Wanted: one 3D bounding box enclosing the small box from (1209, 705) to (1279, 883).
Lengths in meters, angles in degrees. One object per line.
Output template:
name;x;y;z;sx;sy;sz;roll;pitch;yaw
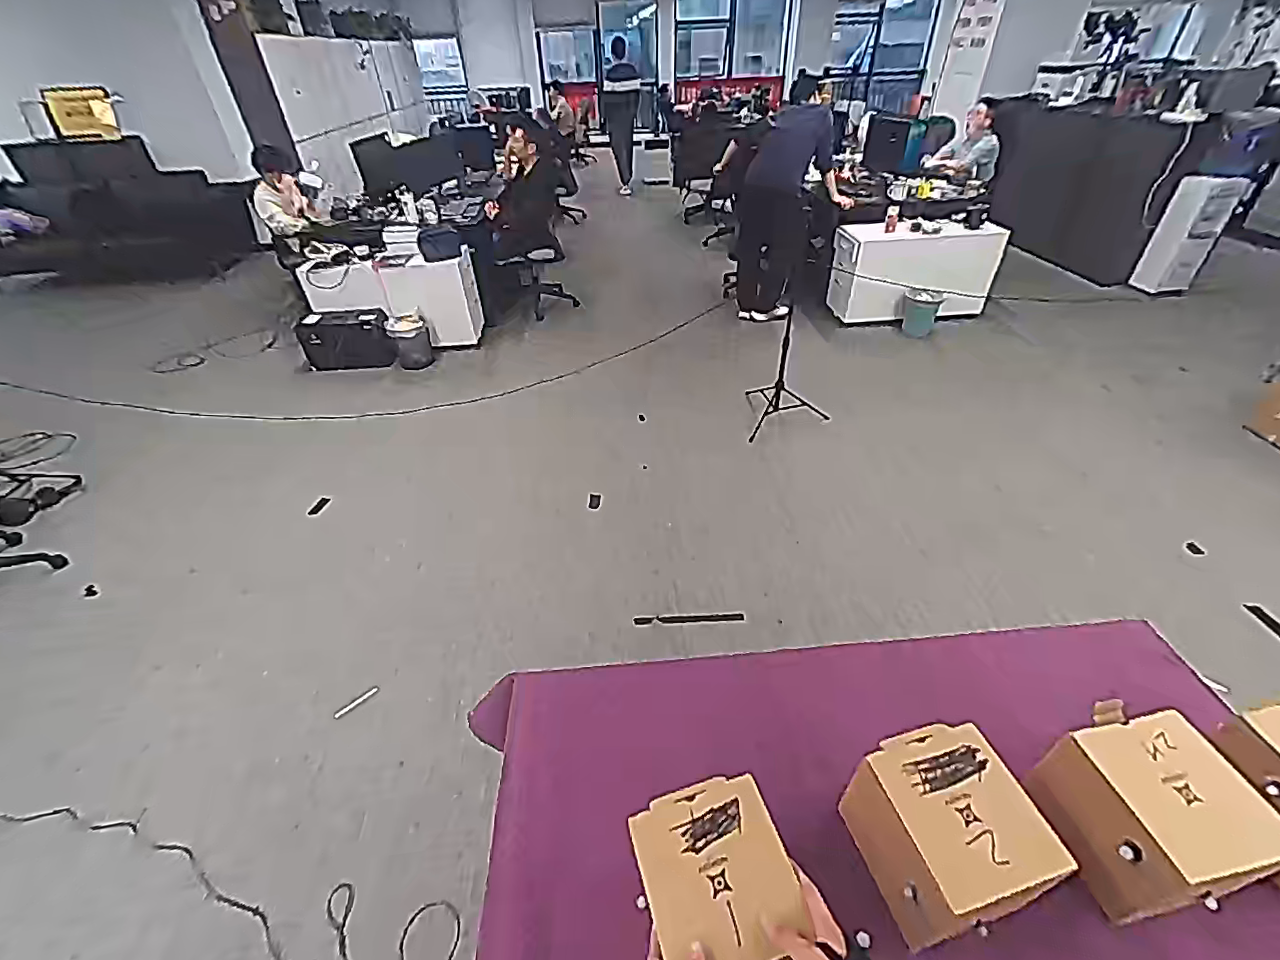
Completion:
small box;0.908;0.422;0.724;0.168;0.176;0.179;-8;38;-4

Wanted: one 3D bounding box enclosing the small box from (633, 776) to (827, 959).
small box;0.098;0.505;0.653;0.168;0.176;0.179;-16;39;-10

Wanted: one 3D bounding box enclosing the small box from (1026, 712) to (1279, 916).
small box;0.670;0.442;0.713;0.168;0.176;0.179;-8;38;-7
